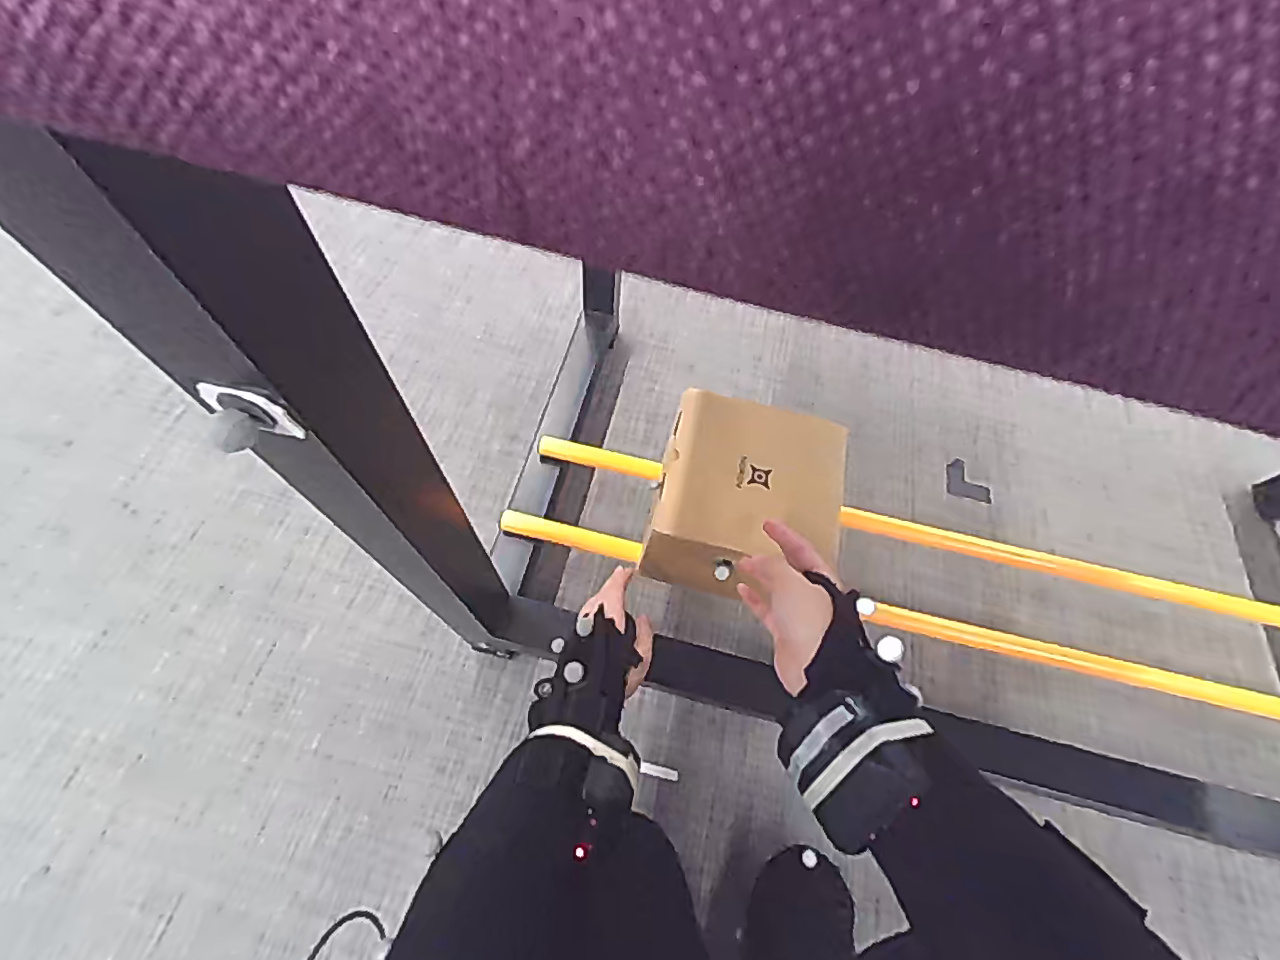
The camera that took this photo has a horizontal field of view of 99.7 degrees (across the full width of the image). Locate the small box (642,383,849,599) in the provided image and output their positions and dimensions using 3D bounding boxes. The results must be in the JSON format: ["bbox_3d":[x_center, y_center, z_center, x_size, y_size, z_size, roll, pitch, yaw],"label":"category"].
[{"bbox_3d":[0.108,0.023,0.600,0.179,0.176,0.168,14,64,2],"label":"small box"}]
